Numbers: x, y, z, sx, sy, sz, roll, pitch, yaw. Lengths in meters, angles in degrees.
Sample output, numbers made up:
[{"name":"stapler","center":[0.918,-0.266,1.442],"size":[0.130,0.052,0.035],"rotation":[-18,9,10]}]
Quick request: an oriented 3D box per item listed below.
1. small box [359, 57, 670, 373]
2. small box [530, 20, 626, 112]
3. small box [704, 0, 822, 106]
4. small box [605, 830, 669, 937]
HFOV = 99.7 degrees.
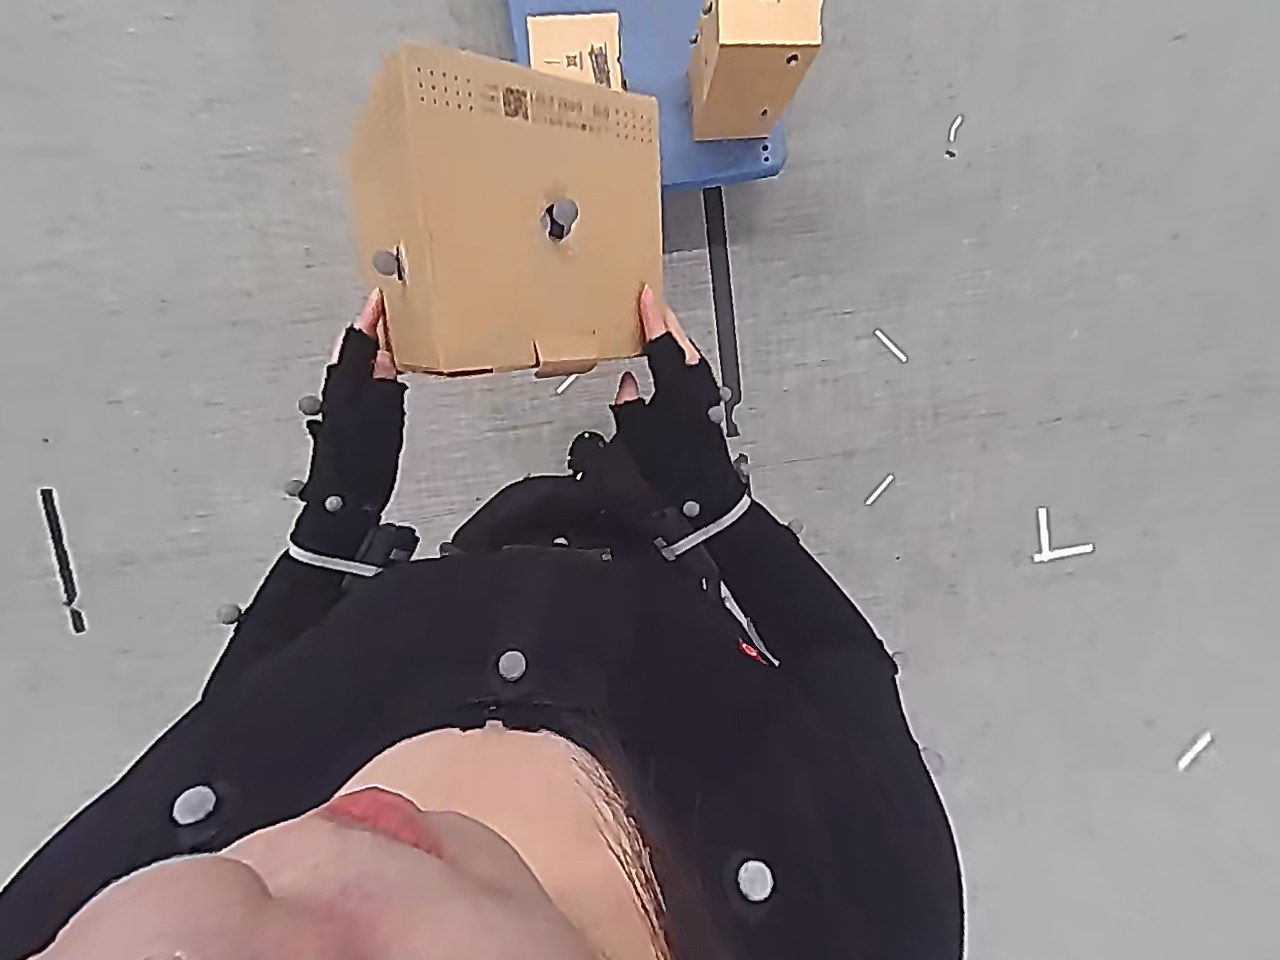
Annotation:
[{"name":"small box","center":[-0.097,-0.175,0.404],"size":[0.168,0.179,0.176],"rotation":[-13,109,-33]},{"name":"small box","center":[-0.121,-0.801,1.116],"size":[0.179,0.176,0.168],"rotation":[-4,97,-1]},{"name":"small box","center":[0.211,-0.802,0.966],"size":[0.179,0.176,0.168],"rotation":[-2,97,-3]},{"name":"small box","center":[-0.008,1.157,1.560],"size":[0.168,0.176,0.179],"rotation":[-6,97,-2]}]
